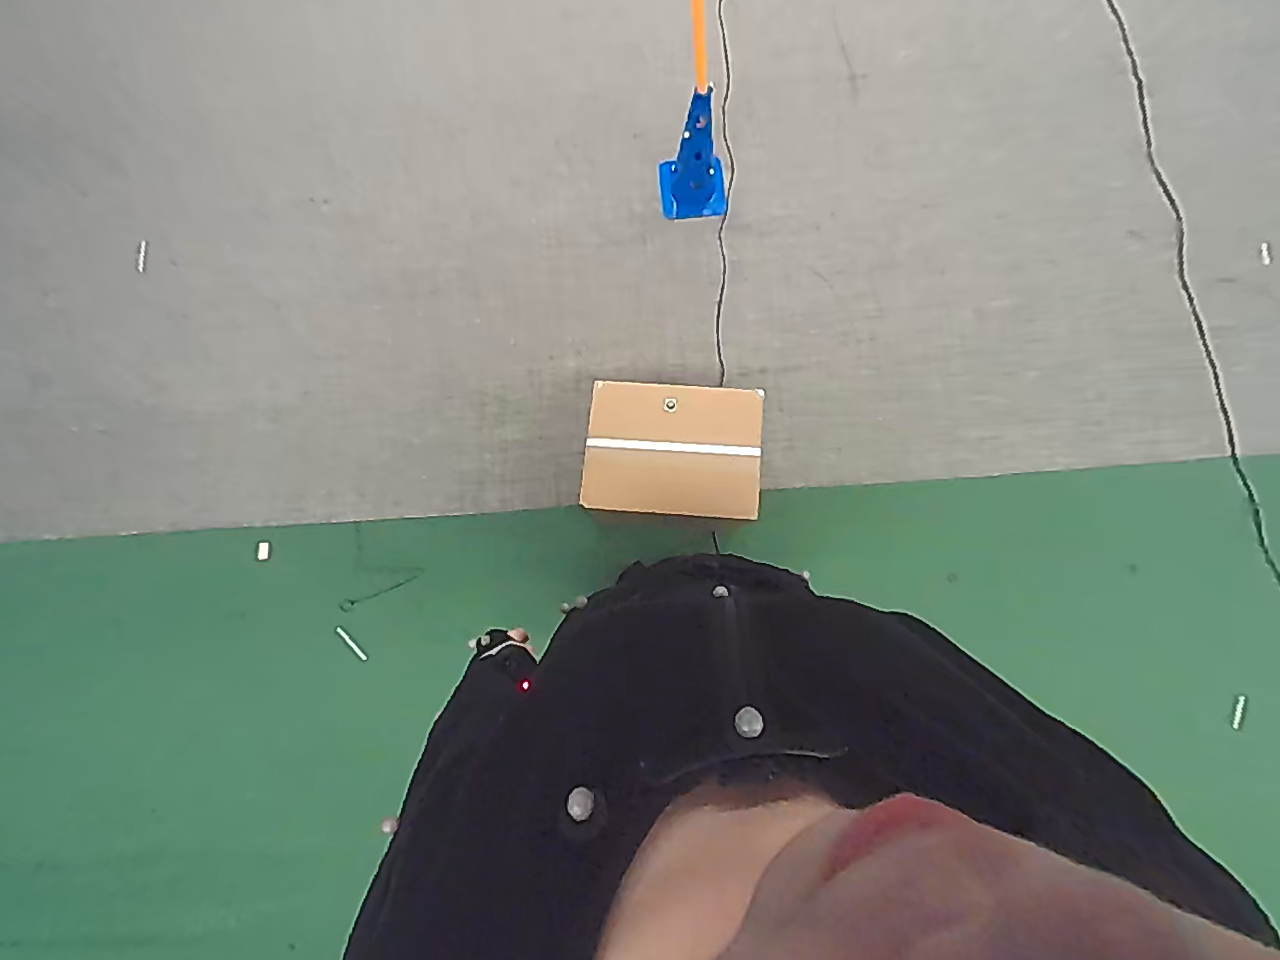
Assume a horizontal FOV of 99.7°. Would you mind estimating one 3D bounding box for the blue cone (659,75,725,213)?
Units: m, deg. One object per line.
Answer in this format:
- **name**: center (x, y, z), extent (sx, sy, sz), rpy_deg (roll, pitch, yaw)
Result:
- **blue cone**: center (0.155, -0.944, 1.512), extent (0.193, 0.380, 0.192), rpy_deg (-7, 81, 2)
